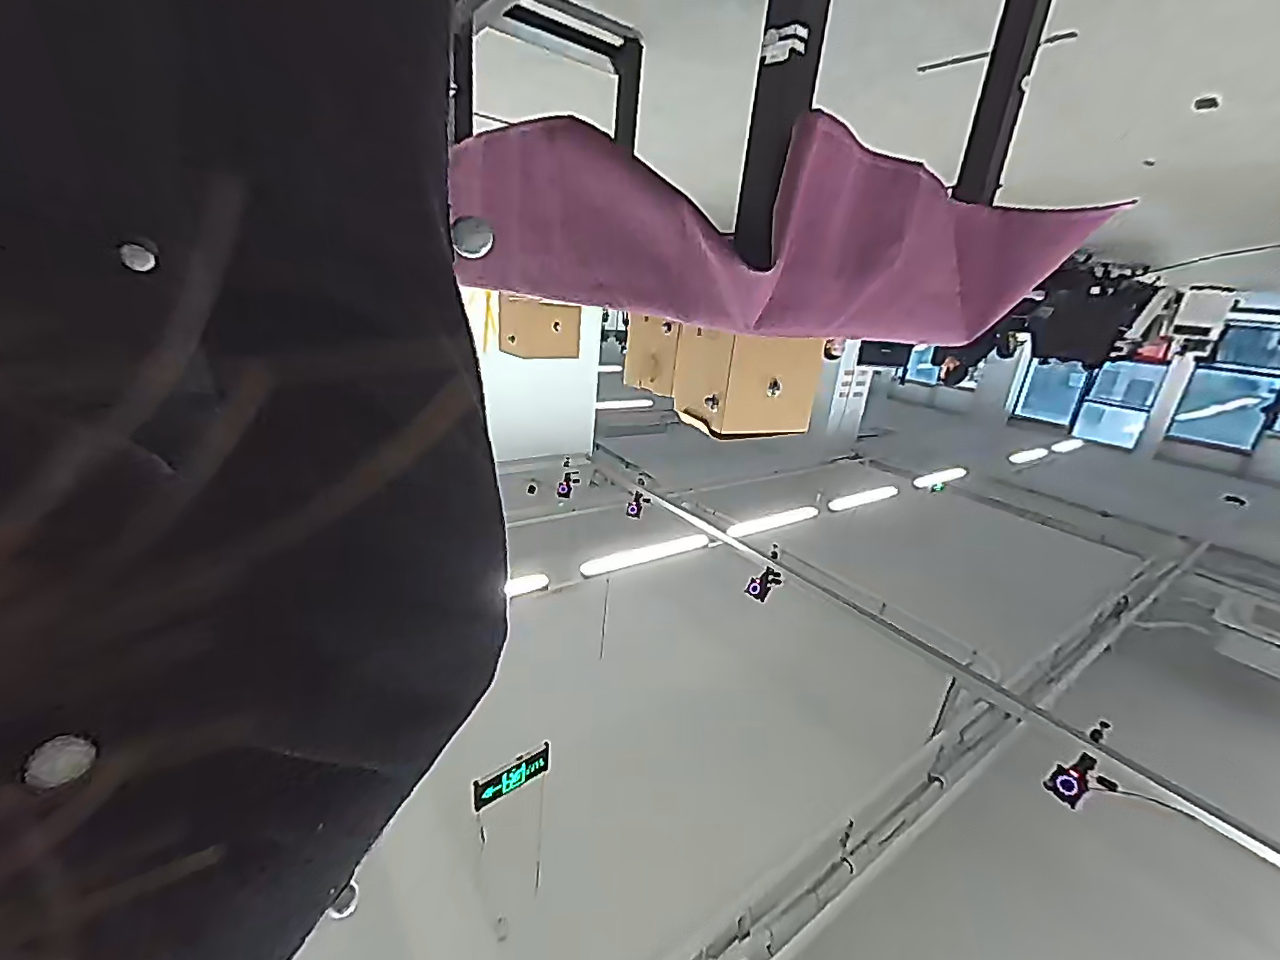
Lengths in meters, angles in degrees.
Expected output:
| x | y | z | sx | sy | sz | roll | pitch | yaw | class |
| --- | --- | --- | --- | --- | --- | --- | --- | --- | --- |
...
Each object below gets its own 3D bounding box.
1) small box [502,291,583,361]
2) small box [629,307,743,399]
| x | y | z | sx | sy | sz | roll | pitch | yaw | class |
| --- | --- | --- | --- | --- | --- | --- | --- | --- | --- |
| -0.270 | -0.427 | 1.486 | 0.168 | 0.176 | 0.179 | -10 | -155 | -37 | small box |
| 0.096 | -0.277 | 1.159 | 0.179 | 0.176 | 0.168 | -11 | -154 | -36 | small box |
